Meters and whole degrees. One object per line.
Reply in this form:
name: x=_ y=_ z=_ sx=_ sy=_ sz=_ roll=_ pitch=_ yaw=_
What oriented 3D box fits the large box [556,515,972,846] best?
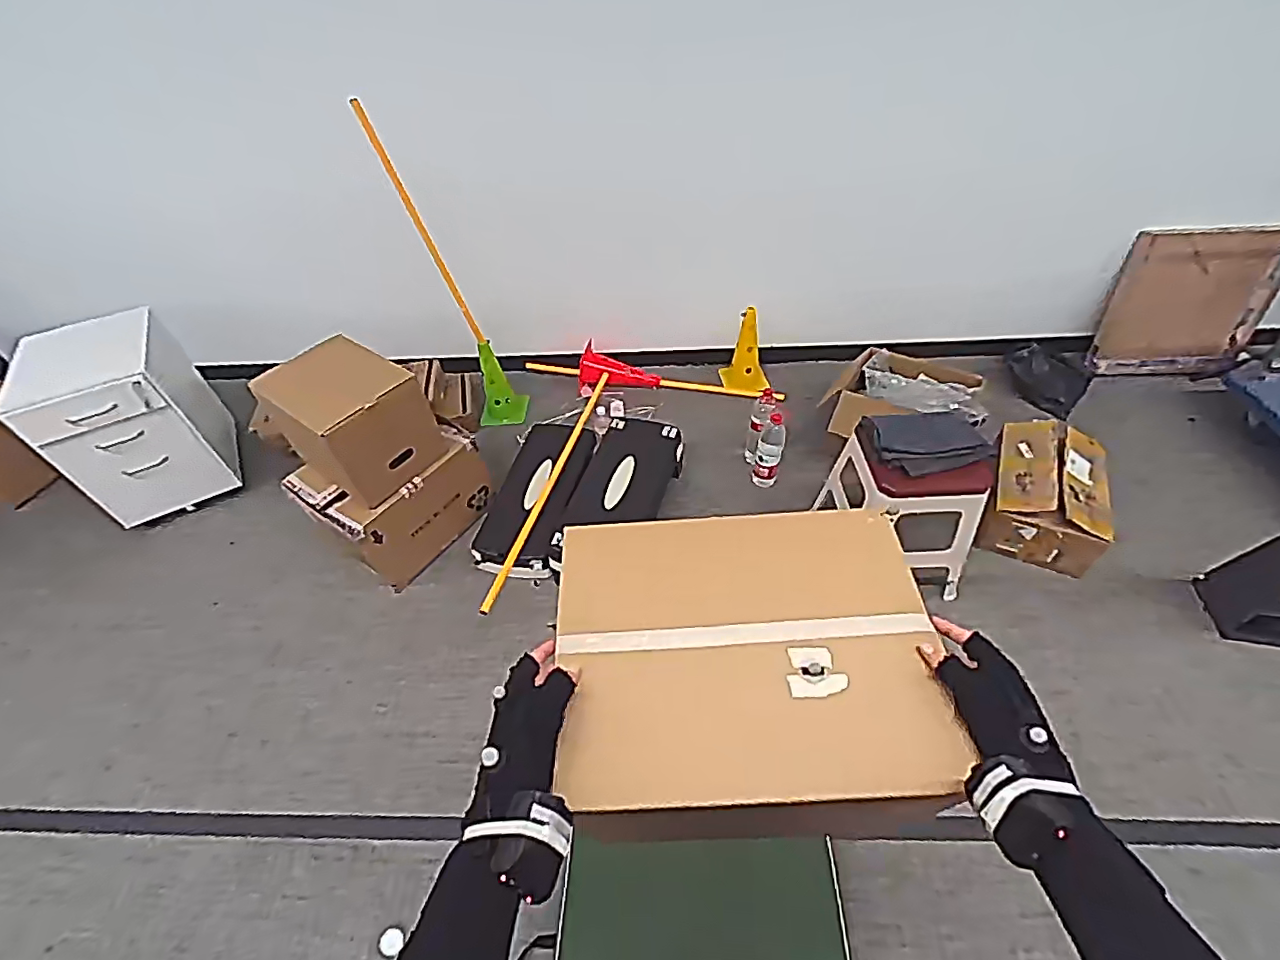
large box: x=0.116 y=0.272 z=0.716 sx=0.408 sy=0.320 sz=0.320 roll=-4 pitch=51 yaw=1
